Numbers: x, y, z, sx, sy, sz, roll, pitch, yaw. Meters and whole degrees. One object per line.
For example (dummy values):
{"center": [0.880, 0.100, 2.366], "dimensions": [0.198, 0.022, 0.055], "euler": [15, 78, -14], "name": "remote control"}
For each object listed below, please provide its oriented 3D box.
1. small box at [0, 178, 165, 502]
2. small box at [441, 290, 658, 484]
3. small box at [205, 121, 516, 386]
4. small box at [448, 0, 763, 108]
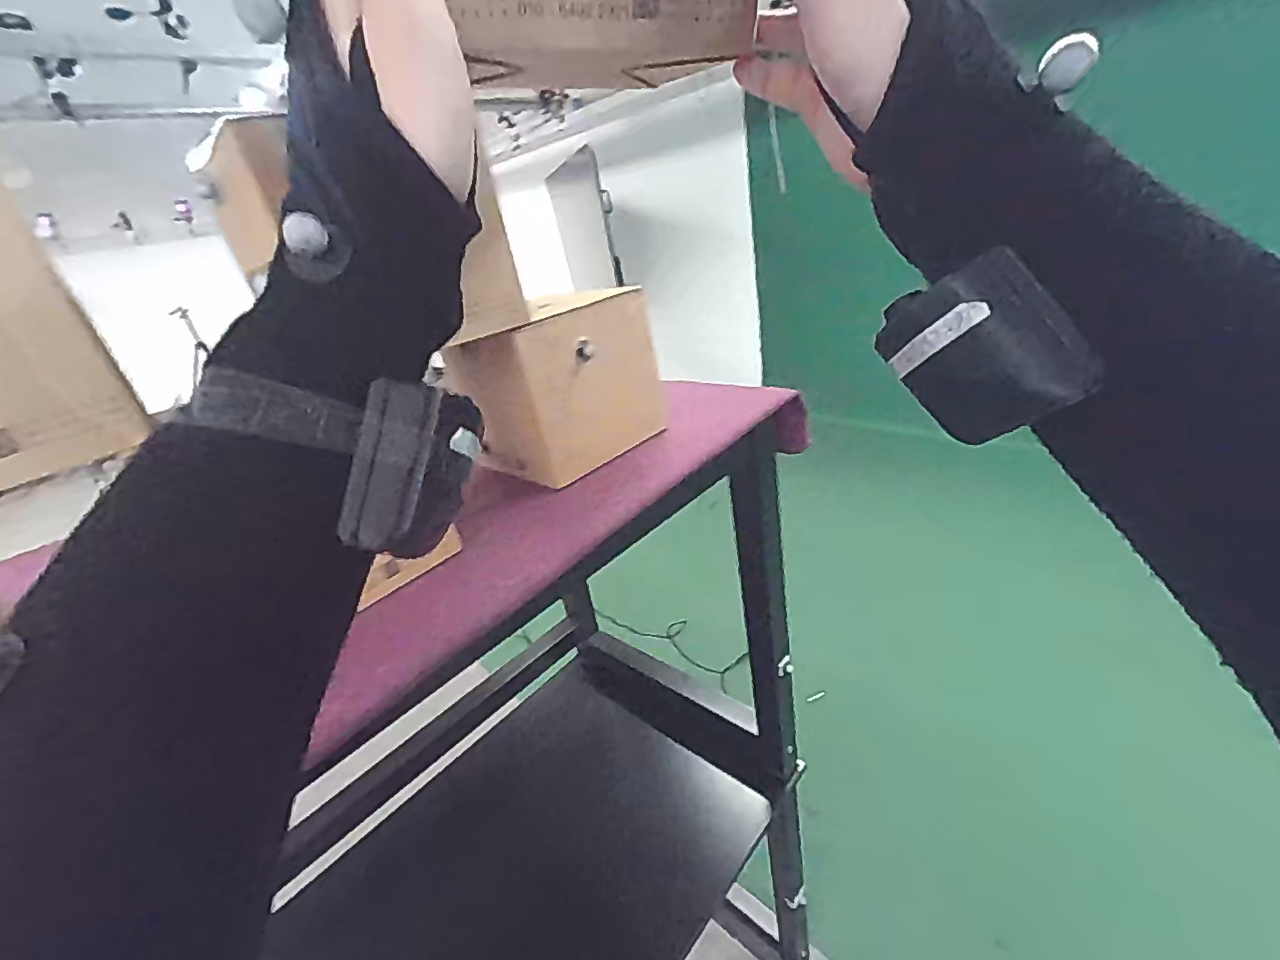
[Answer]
{"center": [-0.419, -0.072, 0.310], "dimensions": [0.179, 0.176, 0.168], "euler": [13, 36, 42], "name": "small box"}
{"center": [-0.098, -0.112, 0.630], "dimensions": [0.168, 0.176, 0.179], "euler": [15, 36, 42], "name": "small box"}
{"center": [-0.227, -0.192, 0.470], "dimensions": [0.168, 0.176, 0.179], "euler": [15, 36, 44], "name": "small box"}
{"center": [-0.032, -0.320, 0.307], "dimensions": [0.168, 0.176, 0.179], "euler": [-9, 33, -12], "name": "small box"}
